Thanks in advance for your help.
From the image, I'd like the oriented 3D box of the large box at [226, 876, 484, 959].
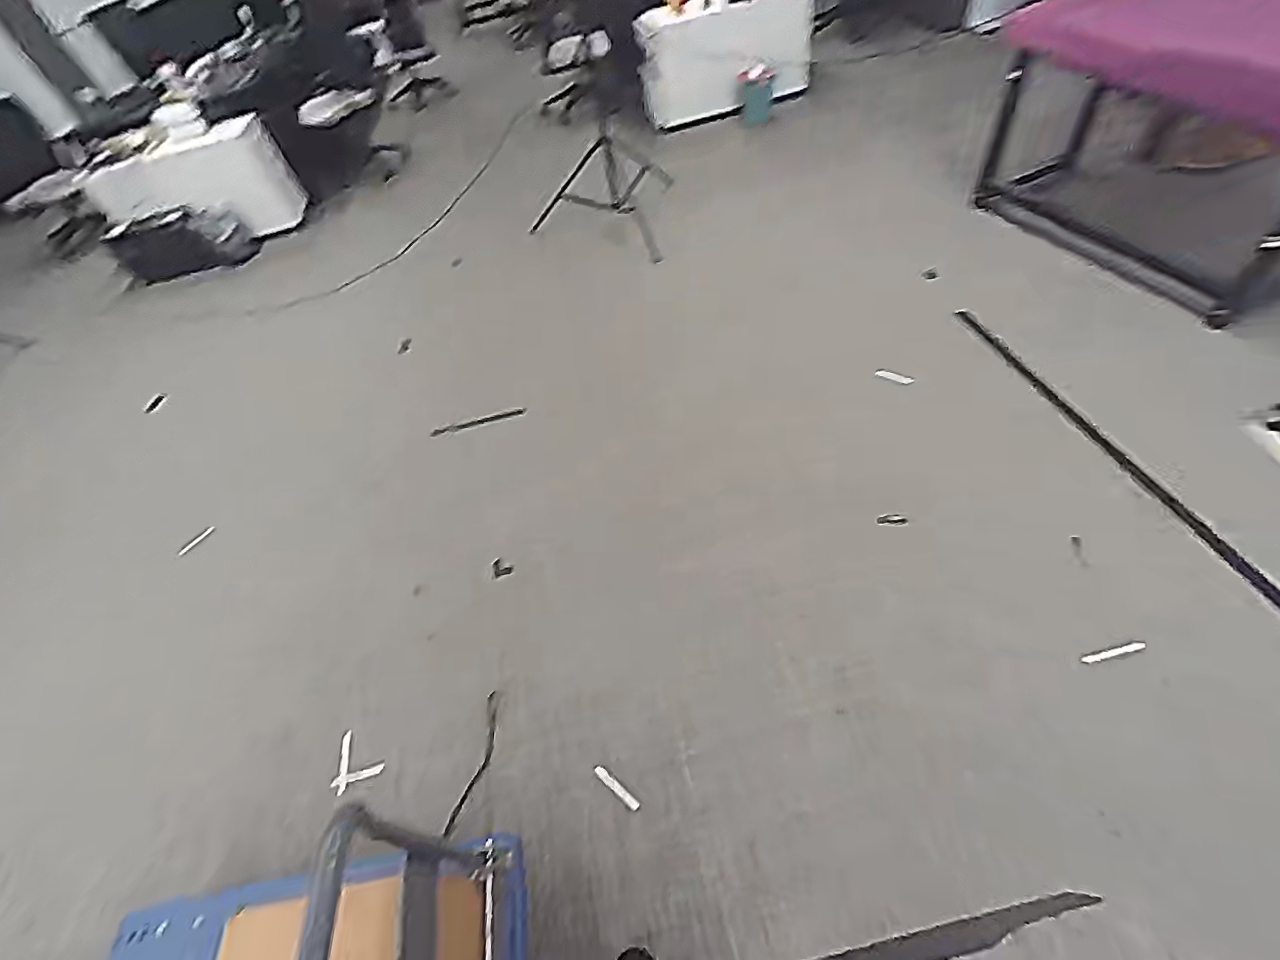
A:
[{"bbox_3d":[-0.450,0.920,0.864,0.320,0.320,0.408,-13,49,0],"label":"large box"}]
